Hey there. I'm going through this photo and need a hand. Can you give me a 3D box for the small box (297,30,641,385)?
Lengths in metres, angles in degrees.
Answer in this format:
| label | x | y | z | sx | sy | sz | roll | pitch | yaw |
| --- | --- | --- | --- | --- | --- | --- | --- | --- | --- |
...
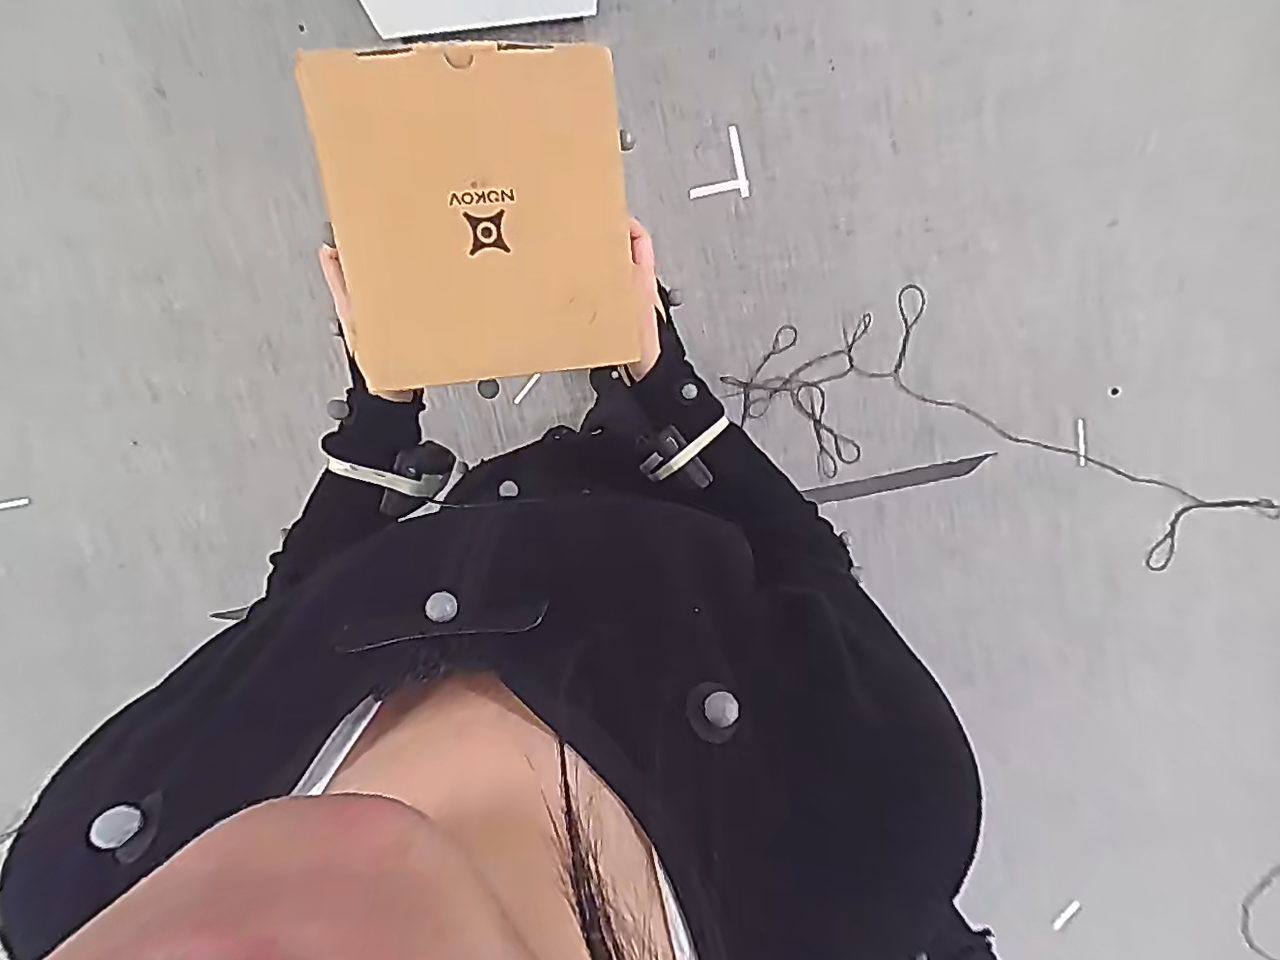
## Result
| label | x | y | z | sx | sy | sz | roll | pitch | yaw |
| --- | --- | --- | --- | --- | --- | --- | --- | --- | --- |
| small box | -0.099 | -0.169 | 0.382 | 0.168 | 0.176 | 0.179 | -9 | 104 | -8 |
